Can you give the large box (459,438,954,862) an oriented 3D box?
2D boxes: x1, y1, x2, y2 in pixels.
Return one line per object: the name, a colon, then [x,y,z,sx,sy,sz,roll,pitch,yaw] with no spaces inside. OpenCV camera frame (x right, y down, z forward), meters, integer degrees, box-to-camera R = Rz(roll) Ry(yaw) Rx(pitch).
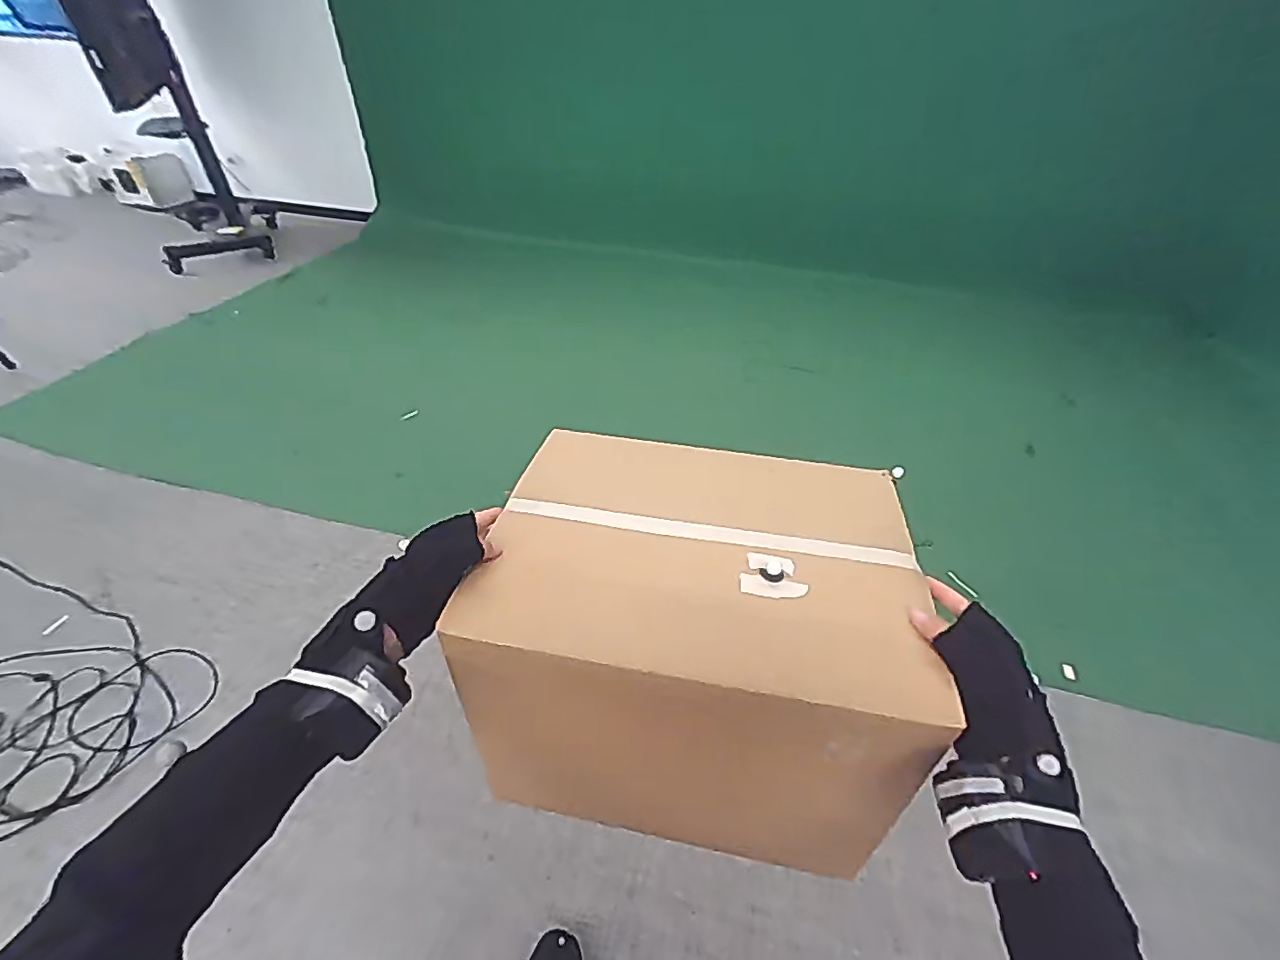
large box: [0.060,0.180,0.631,0.408,0.320,0.320,8,38,7]
